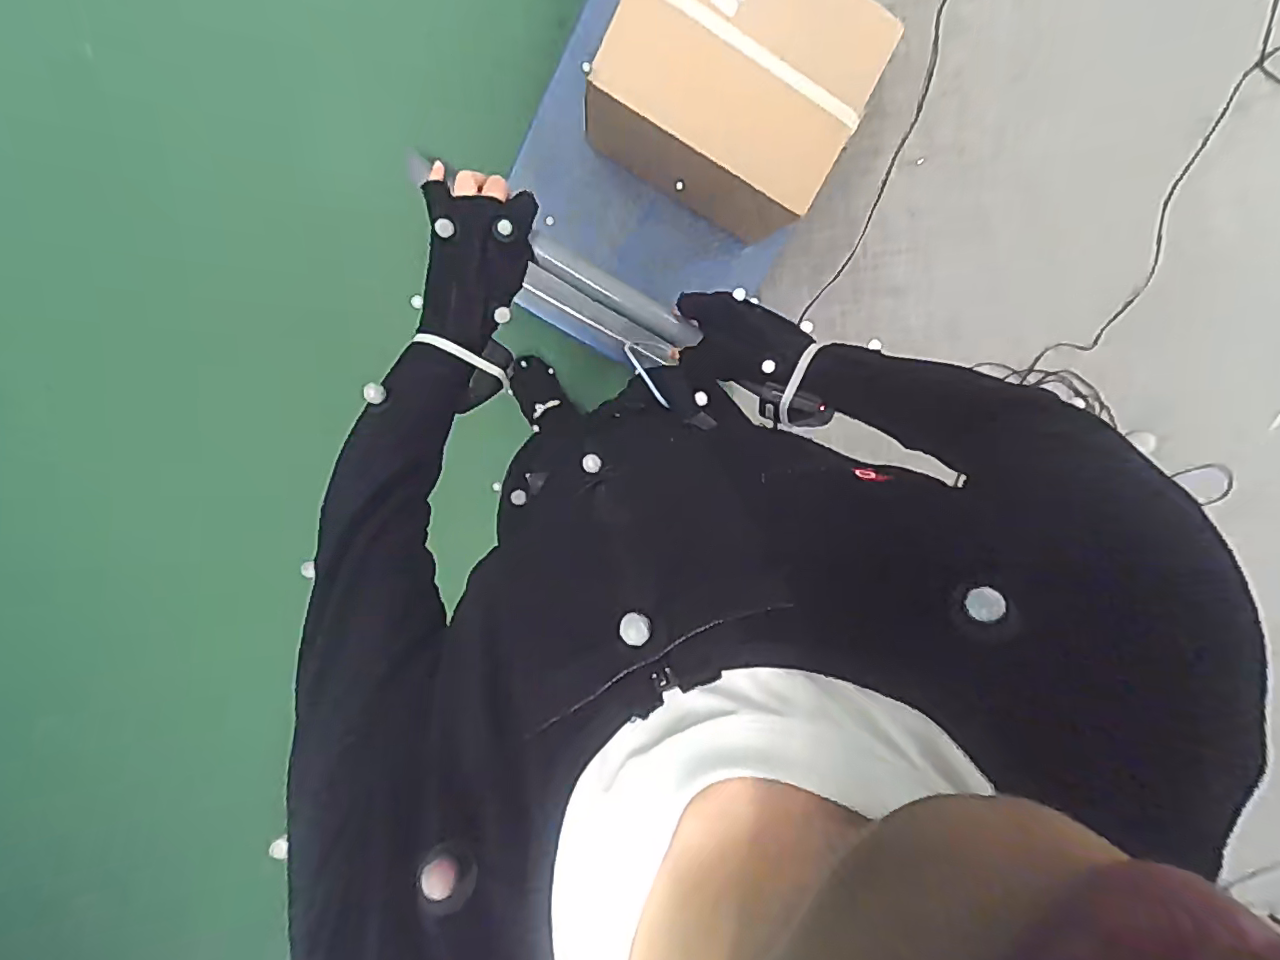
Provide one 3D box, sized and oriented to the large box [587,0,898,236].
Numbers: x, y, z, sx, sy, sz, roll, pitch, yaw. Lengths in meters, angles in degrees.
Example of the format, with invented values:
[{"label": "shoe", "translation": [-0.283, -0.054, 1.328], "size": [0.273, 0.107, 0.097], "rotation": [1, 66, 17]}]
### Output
[{"label": "large box", "translation": [0.151, -0.701, 0.978], "size": [0.408, 0.320, 0.320], "rotation": [26, 101, -12]}]
